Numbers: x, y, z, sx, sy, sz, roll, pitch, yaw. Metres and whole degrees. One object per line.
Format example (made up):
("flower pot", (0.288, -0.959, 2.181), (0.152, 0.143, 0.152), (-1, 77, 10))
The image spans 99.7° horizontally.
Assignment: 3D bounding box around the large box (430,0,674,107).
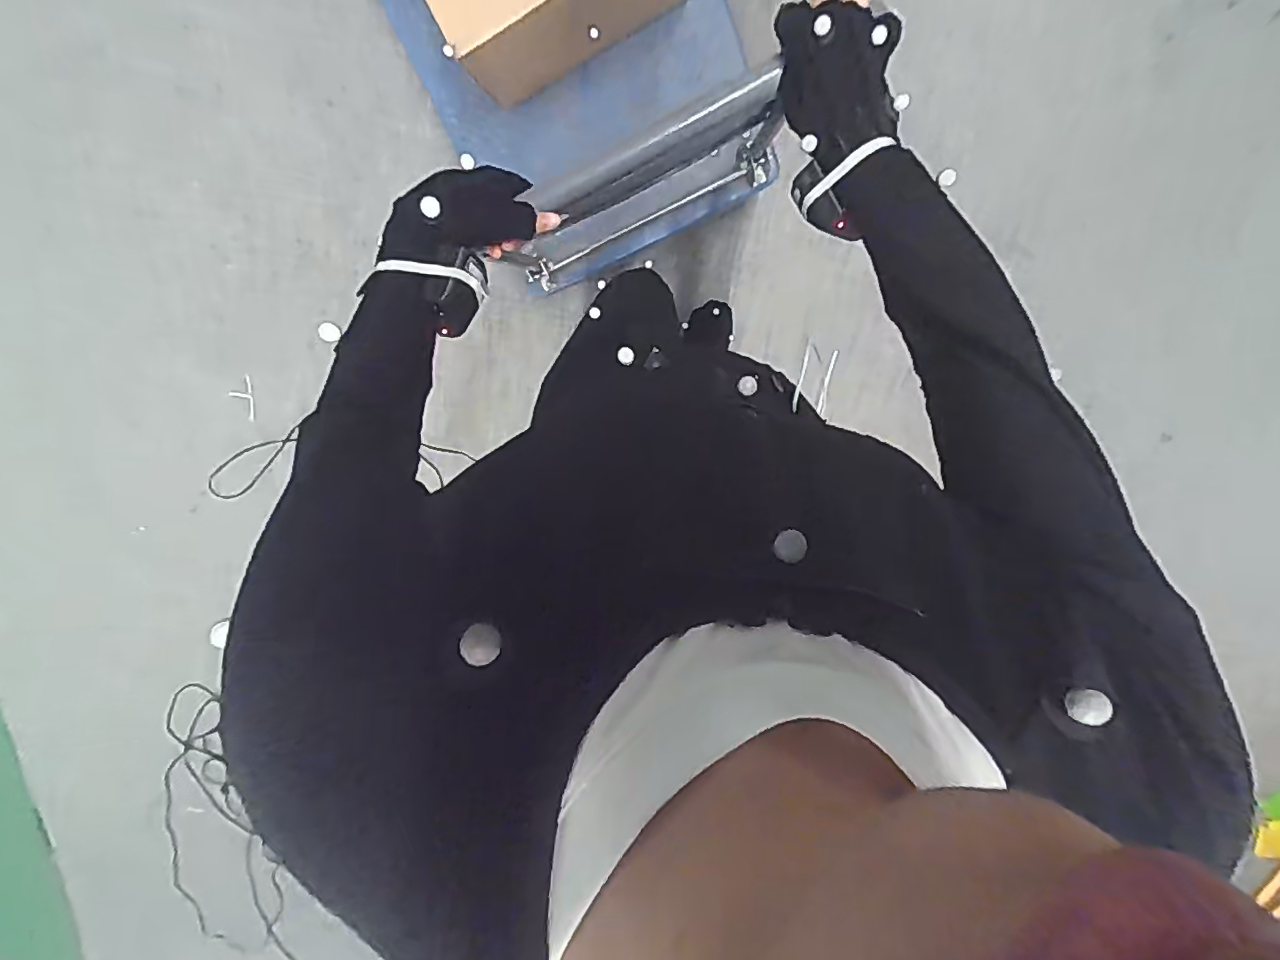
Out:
("large box", (-0.149, -0.874, 0.834), (0.408, 0.320, 0.320), (-25, 109, 11))
